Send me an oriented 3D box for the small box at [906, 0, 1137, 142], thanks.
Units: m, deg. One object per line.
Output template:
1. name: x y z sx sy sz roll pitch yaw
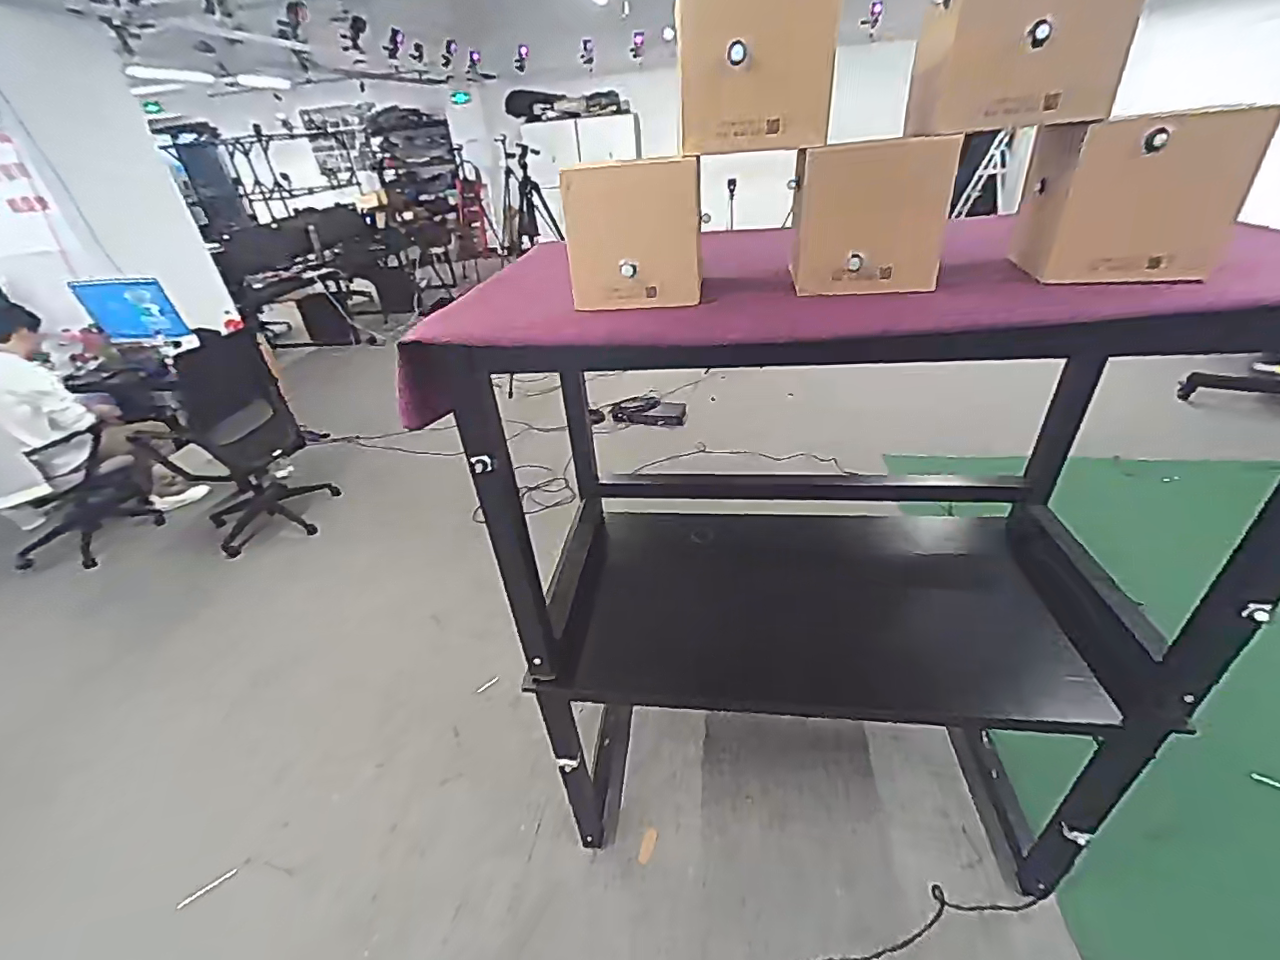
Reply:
1. small box: 0.413 -0.481 0.603 0.168 0.176 0.179 2 32 12

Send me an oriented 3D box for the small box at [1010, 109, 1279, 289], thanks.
1. small box: 0.579 -0.336 0.656 0.168 0.176 0.179 4 32 17

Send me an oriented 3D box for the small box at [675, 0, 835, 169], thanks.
1. small box: 0.128 -0.477 0.648 0.168 0.176 0.179 -2 31 4

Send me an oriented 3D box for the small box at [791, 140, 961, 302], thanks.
1. small box: 0.290 -0.338 0.709 0.168 0.176 0.179 1 33 12

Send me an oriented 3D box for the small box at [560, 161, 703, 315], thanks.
1. small box: 0.000 -0.330 0.737 0.168 0.176 0.179 0 33 8
